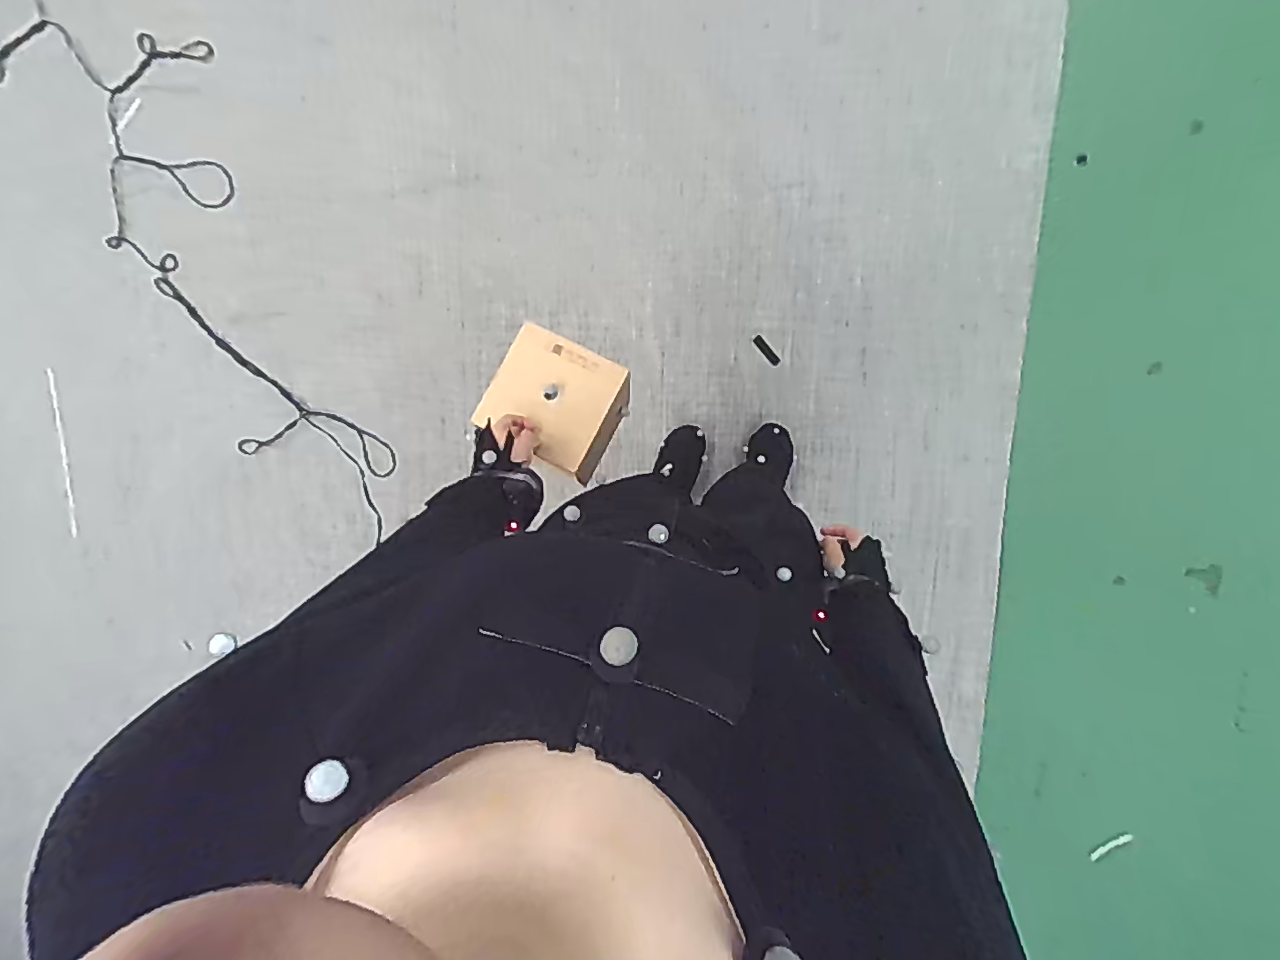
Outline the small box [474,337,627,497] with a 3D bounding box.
[{"bbox_3d":[-0.128,-0.093,0.836,0.168,0.179,0.176,24,79,3],"label":"small box"}]
